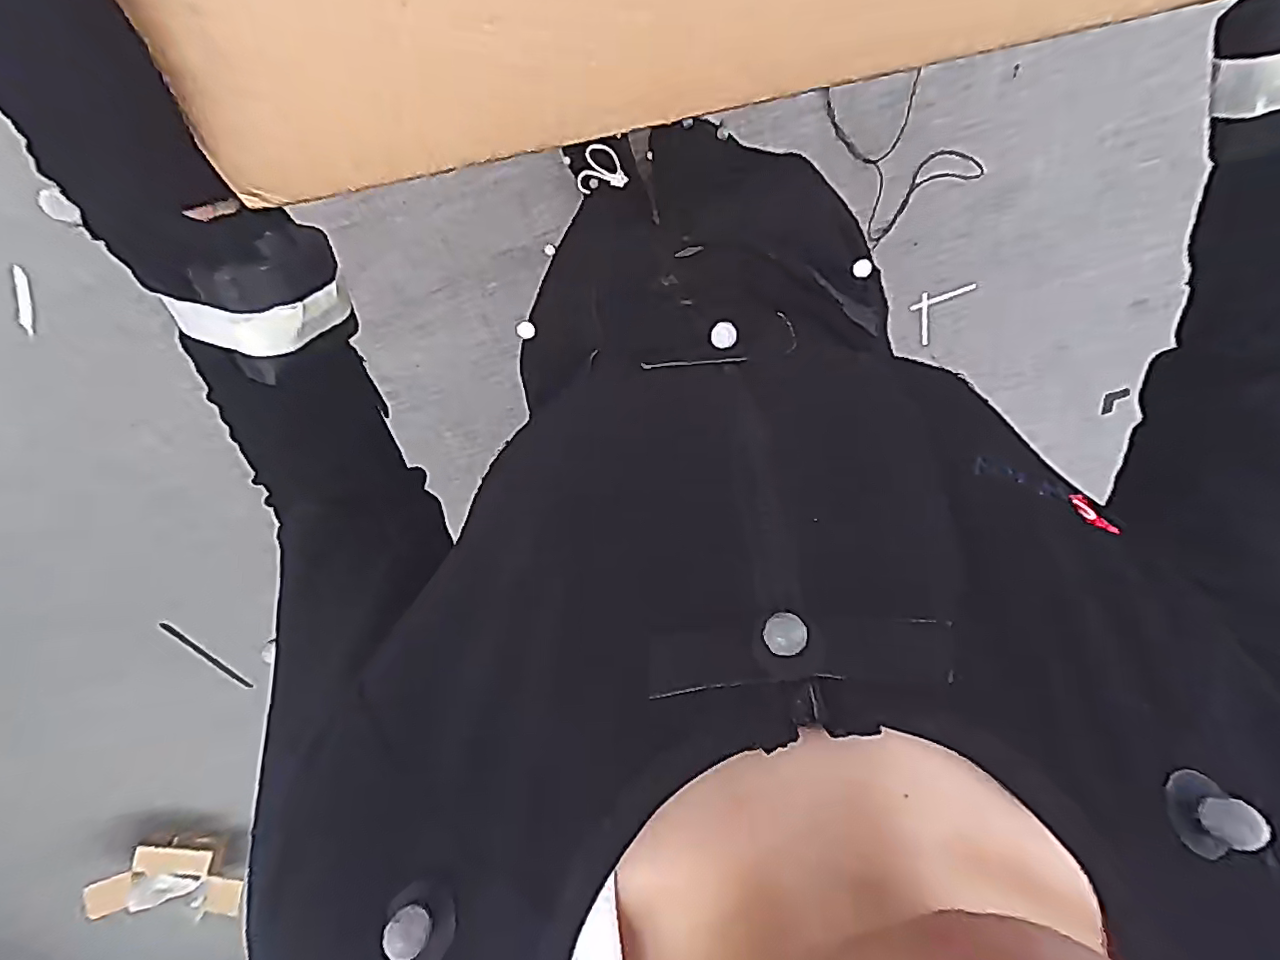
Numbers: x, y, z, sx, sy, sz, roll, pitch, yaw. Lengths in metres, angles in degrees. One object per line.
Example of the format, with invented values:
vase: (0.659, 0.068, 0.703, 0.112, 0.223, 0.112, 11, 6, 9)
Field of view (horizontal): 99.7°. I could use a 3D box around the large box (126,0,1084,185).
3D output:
large box: (-0.012, -0.372, 0.199, 0.408, 0.320, 0.320, -9, 141, 5)
